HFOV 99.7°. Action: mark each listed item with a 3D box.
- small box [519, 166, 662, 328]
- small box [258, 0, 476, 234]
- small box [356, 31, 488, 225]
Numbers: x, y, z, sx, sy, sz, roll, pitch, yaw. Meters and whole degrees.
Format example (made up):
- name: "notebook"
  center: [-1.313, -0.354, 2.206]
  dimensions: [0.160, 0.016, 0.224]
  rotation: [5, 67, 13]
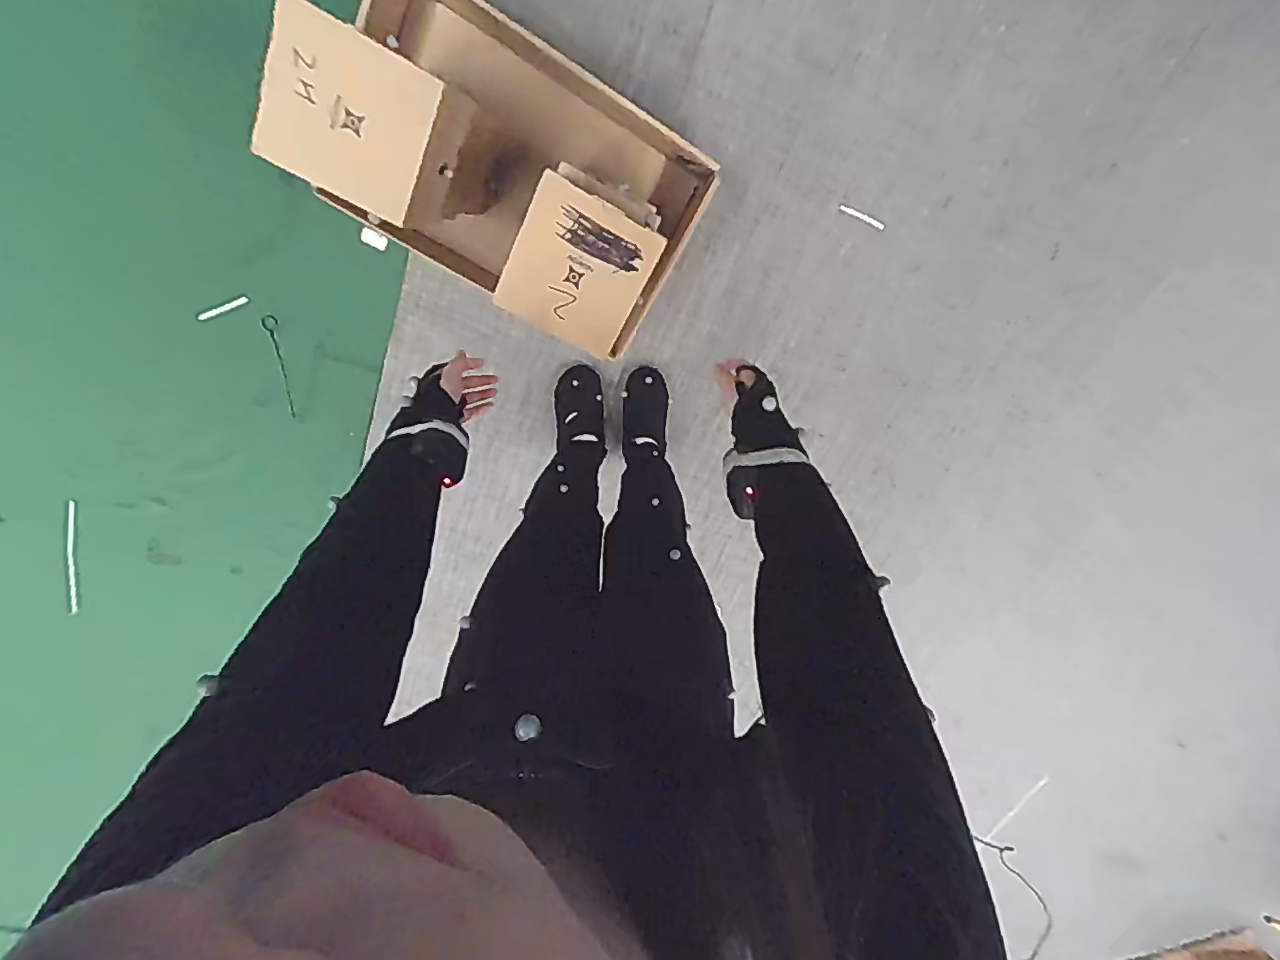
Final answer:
- name: "small box"
  center: [-0.078, -0.379, 0.892]
  dimensions: [0.168, 0.176, 0.179]
  rotation: [25, 111, -13]
- name: "small box"
  center: [-0.324, -0.433, 0.676]
  dimensions: [0.179, 0.176, 0.168]
  rotation: [24, 112, -15]
- name: "small box"
  center: [-0.343, -0.514, 0.818]
  dimensions: [0.168, 0.176, 0.179]
  rotation: [26, 112, -15]
